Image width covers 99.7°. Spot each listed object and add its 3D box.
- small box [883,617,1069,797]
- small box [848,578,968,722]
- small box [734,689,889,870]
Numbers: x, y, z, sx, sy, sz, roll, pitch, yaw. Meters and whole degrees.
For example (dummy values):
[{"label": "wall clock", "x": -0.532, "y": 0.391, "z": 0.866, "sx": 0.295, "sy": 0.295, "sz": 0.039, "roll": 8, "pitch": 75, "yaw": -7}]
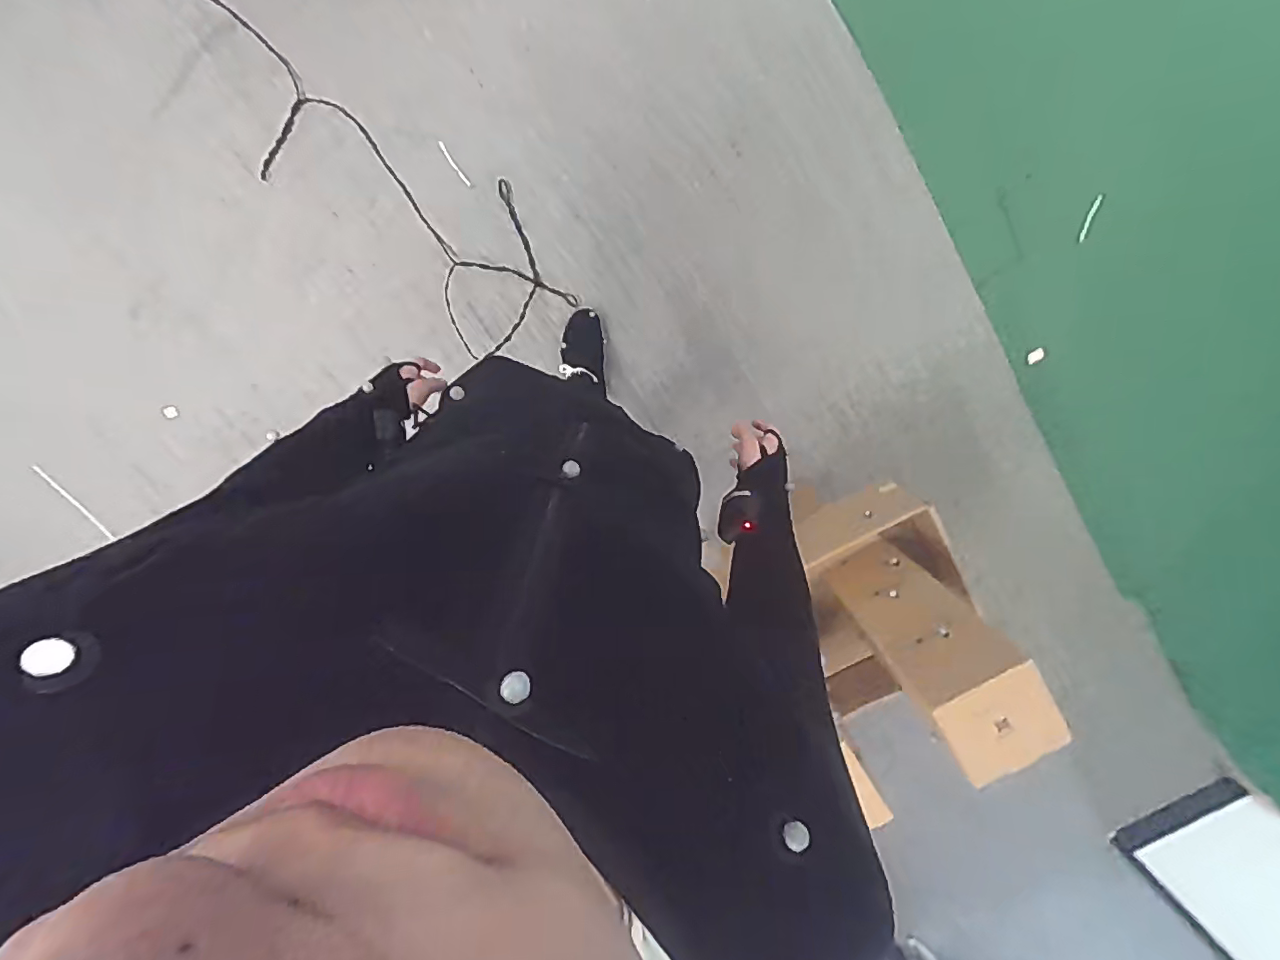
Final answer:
[{"label": "small box", "x": 0.538, "y": 0.362, "z": 0.887, "sx": 0.168, "sy": 0.176, "sz": 0.179, "roll": -31, "pitch": 104, "yaw": 6}, {"label": "small box", "x": 0.537, "y": 0.322, "z": 1.046, "sx": 0.168, "sy": 0.176, "sz": 0.179, "roll": -31, "pitch": 103, "yaw": 6}, {"label": "small box", "x": 0.280, "y": 0.498, "z": 0.918, "sx": 0.168, "sy": 0.176, "sz": 0.179, "roll": -32, "pitch": 103, "yaw": 7}]
